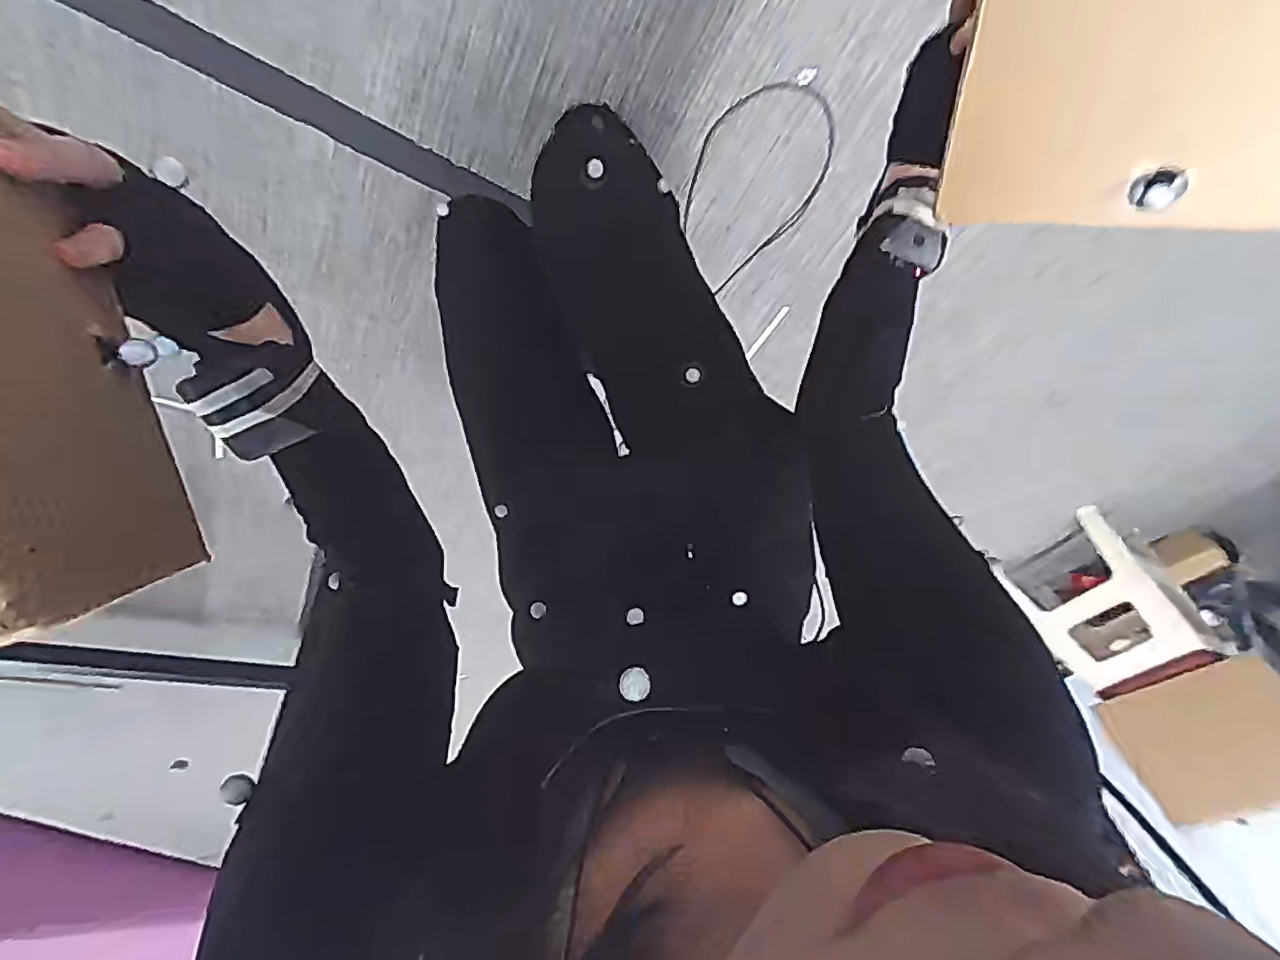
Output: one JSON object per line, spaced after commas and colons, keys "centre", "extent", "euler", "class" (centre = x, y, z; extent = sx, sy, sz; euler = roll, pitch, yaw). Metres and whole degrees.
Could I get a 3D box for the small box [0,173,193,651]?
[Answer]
{"centre": [-0.266, -0.019, 0.140], "extent": [0.168, 0.176, 0.179], "euler": [-17, 96, -24], "class": "small box"}
